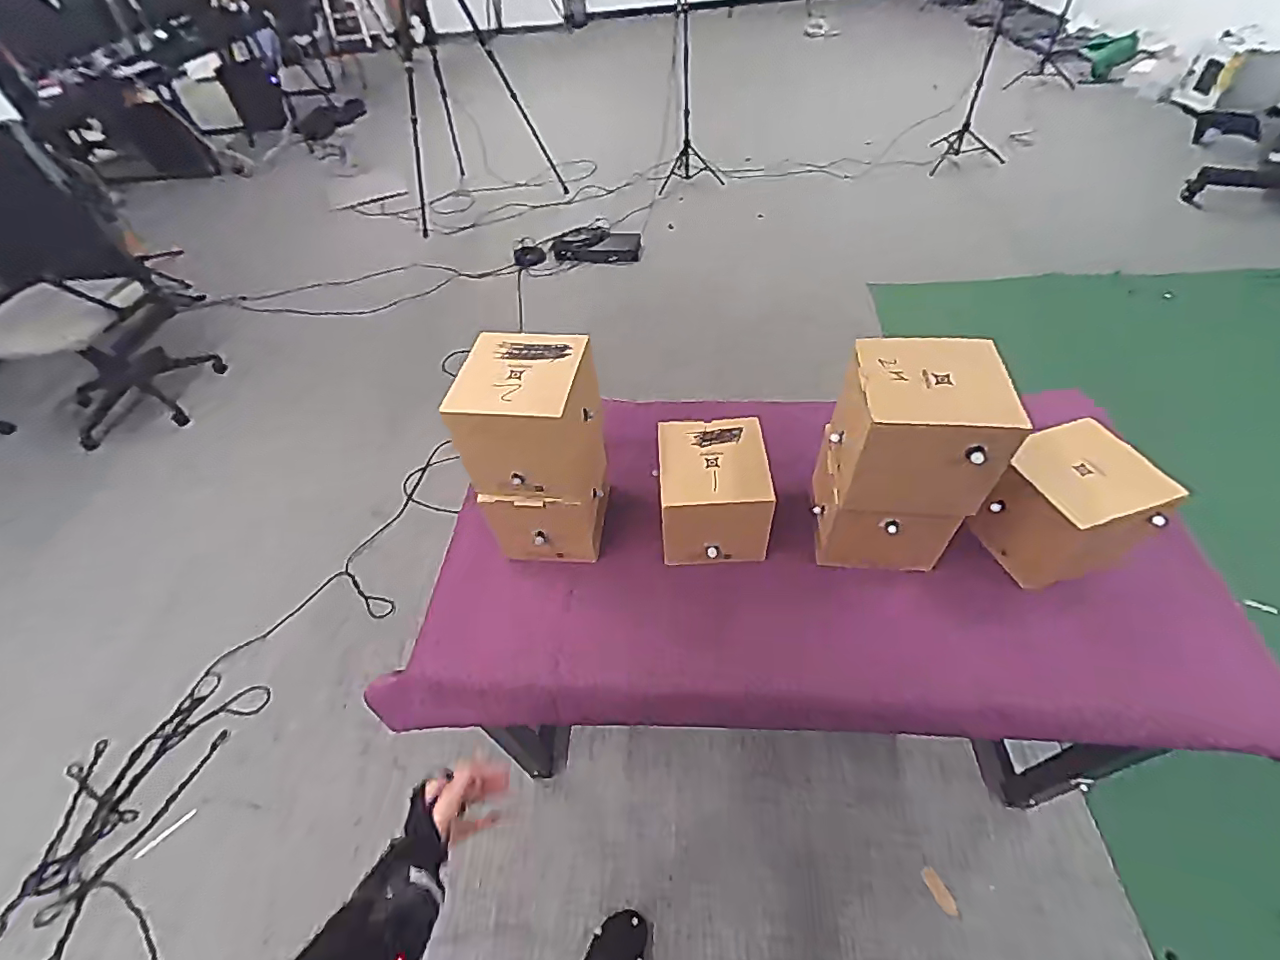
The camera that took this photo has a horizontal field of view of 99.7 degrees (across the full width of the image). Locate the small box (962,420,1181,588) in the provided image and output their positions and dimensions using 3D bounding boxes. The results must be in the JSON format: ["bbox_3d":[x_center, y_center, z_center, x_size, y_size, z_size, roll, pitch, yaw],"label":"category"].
[{"bbox_3d":[0.628,0.041,0.821,0.179,0.176,0.168,-15,49,-8],"label":"small box"}]

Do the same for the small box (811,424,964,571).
[{"bbox_3d":[0.371,0.029,0.853,0.179,0.176,0.168,3,50,8],"label":"small box"}]

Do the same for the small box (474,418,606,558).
[{"bbox_3d":[-0.154,0.015,0.908,0.168,0.176,0.179,2,50,6],"label":"small box"}]

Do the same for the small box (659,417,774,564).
[{"bbox_3d":[0.114,0.019,0.883,0.168,0.176,0.179,-3,50,3],"label":"small box"}]

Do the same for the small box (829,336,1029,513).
[{"bbox_3d":[0.365,-0.071,0.722,0.179,0.176,0.168,4,50,8],"label":"small box"}]
